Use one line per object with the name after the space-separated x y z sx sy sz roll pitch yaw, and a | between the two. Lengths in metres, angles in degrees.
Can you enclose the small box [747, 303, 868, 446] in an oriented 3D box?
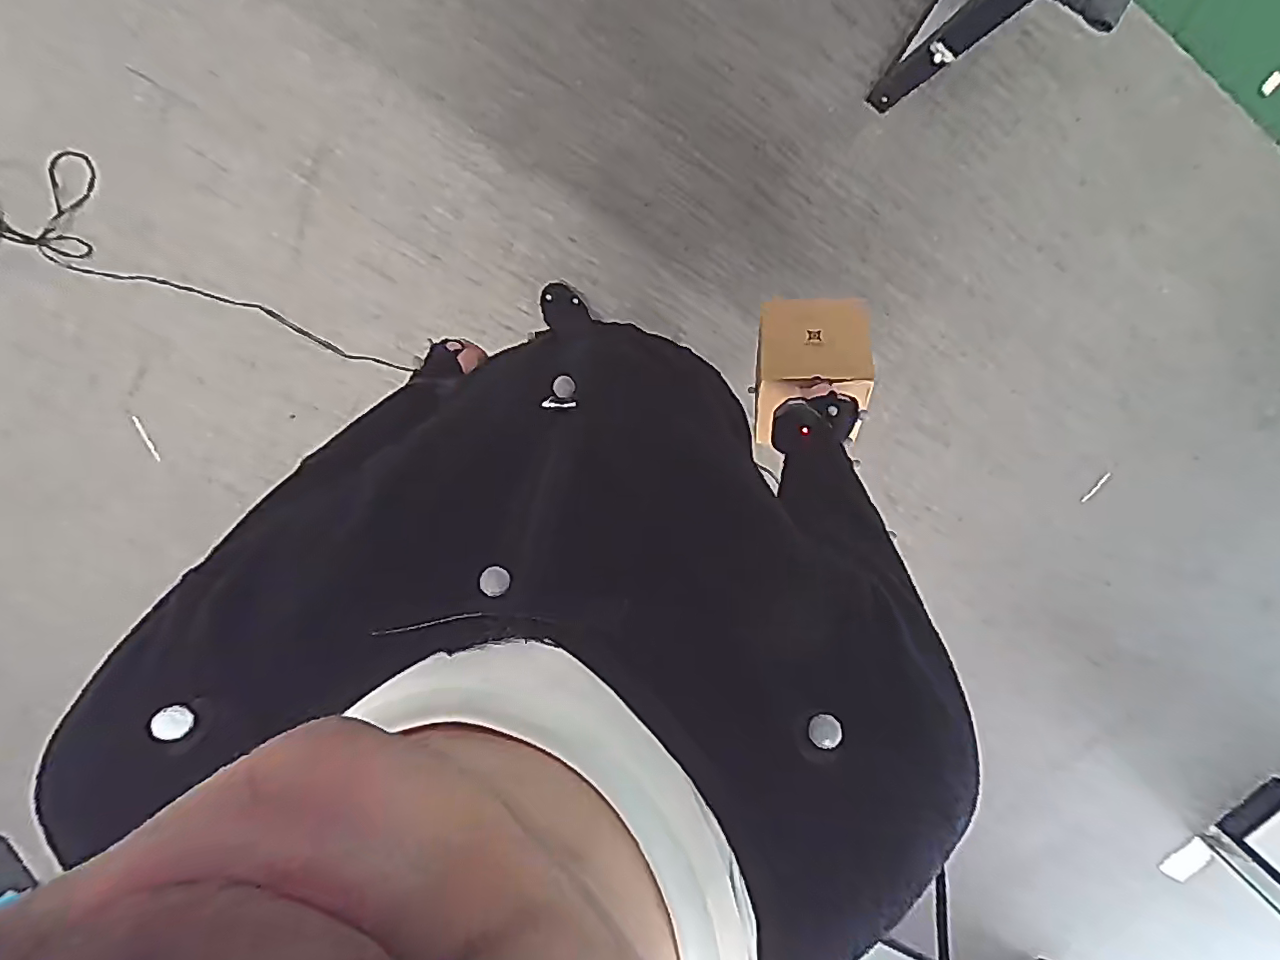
0.269 -0.171 0.902 0.168 0.179 0.176 2 148 8 | small box
